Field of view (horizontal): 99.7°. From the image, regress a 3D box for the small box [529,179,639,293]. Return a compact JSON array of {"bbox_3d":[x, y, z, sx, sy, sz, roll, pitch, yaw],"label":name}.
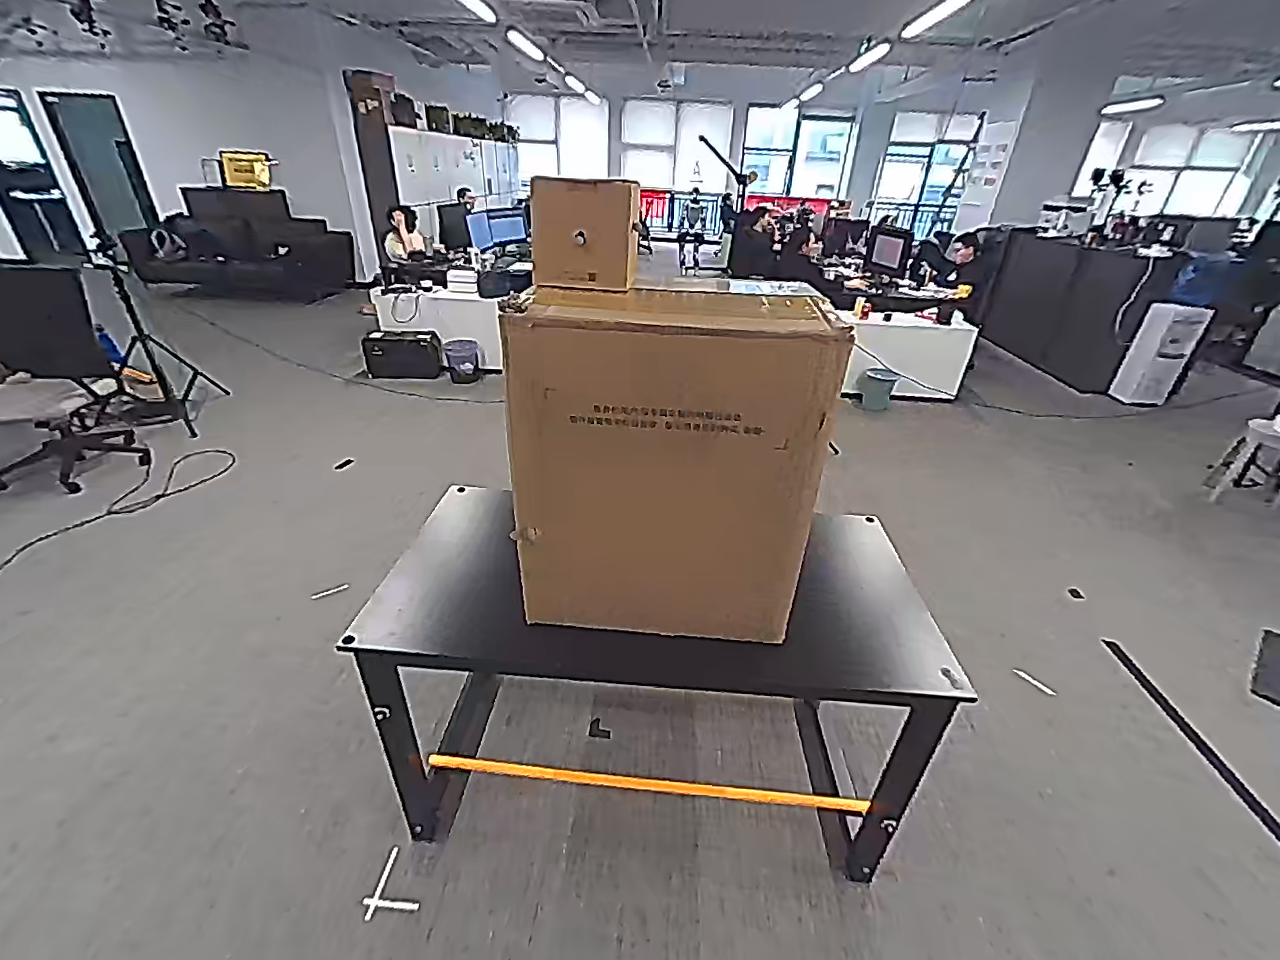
[{"bbox_3d":[-0.092,-0.435,0.961,0.168,0.176,0.179,5,29,2],"label":"small box"}]
